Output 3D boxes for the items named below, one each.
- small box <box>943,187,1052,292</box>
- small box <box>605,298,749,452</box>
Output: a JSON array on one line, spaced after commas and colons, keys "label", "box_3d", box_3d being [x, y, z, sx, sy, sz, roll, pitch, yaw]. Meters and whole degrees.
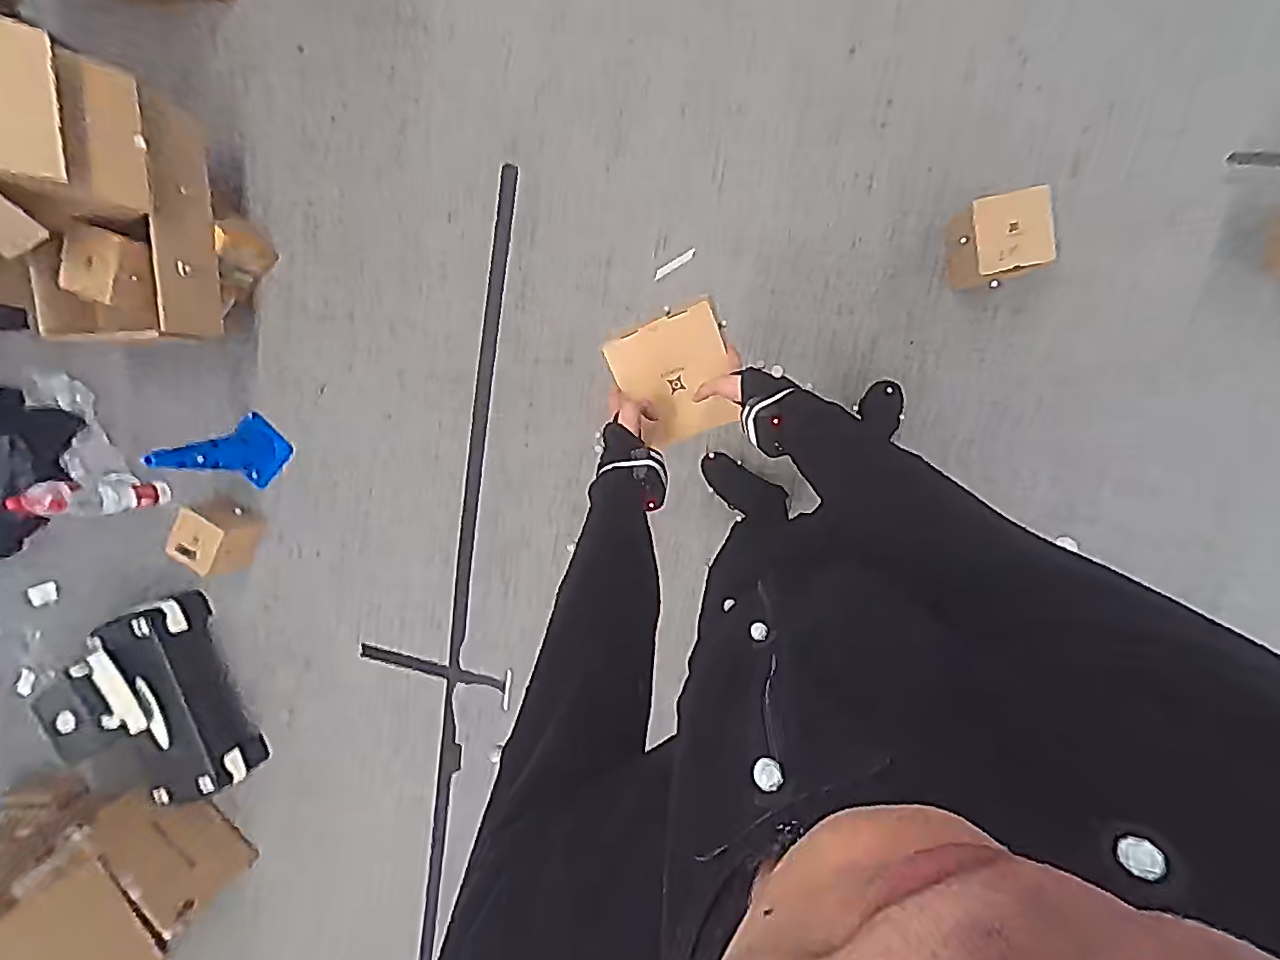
[{"label": "small box", "box_3d": [0.874, -0.585, 1.338, 0.168, 0.176, 0.179, -9, 96, 10]}, {"label": "small box", "box_3d": [0.066, -0.170, 0.847, 0.168, 0.176, 0.179, -19, 107, 15]}]
